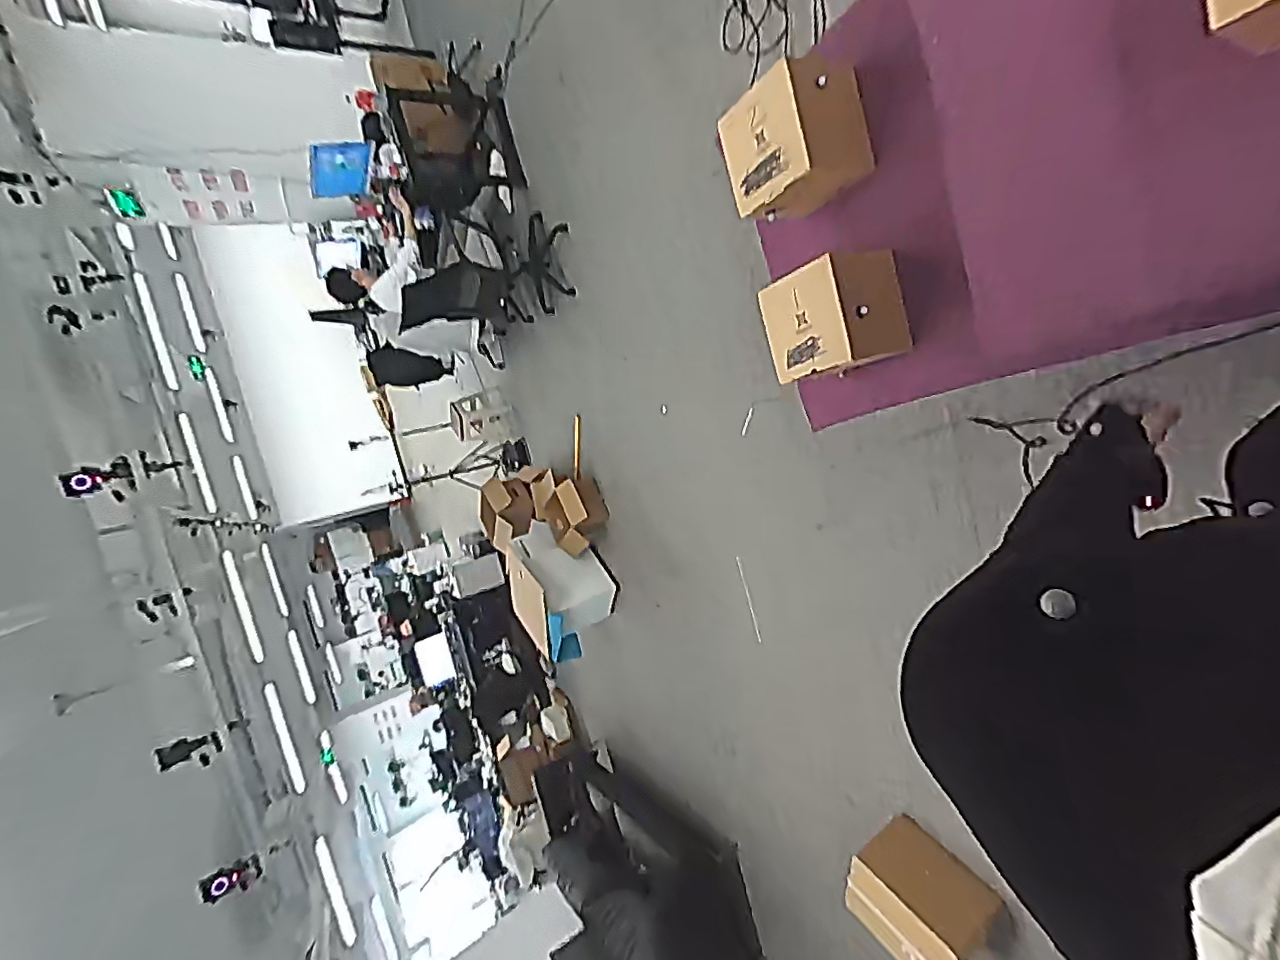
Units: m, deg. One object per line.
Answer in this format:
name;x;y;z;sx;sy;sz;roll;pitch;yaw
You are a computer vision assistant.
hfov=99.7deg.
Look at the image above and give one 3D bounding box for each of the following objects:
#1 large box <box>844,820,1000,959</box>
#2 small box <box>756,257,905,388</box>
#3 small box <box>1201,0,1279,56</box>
large box;1.048;1.615;2.042;0.408;0.320;0.320;28;128;49
small box;0.340;-0.278;0.960;0.168;0.176;0.179;-10;95;59
small box;0.592;-0.497;0.442;0.168;0.176;0.179;-2;102;60
